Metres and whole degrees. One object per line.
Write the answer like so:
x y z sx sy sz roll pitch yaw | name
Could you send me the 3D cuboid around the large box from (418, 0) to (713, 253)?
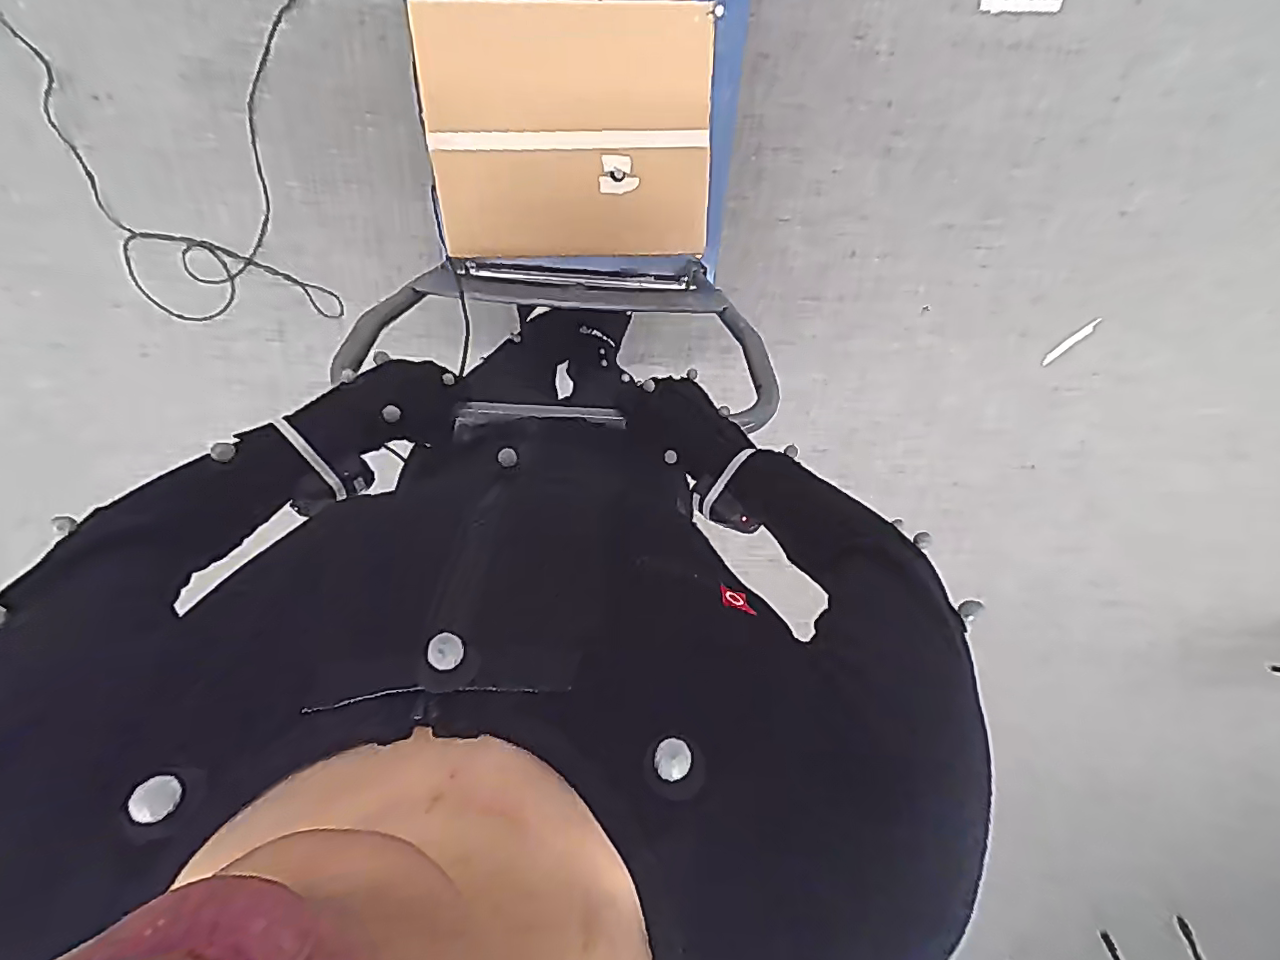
-0.107 -0.574 0.924 0.408 0.320 0.320 -3 118 -4 | large box
